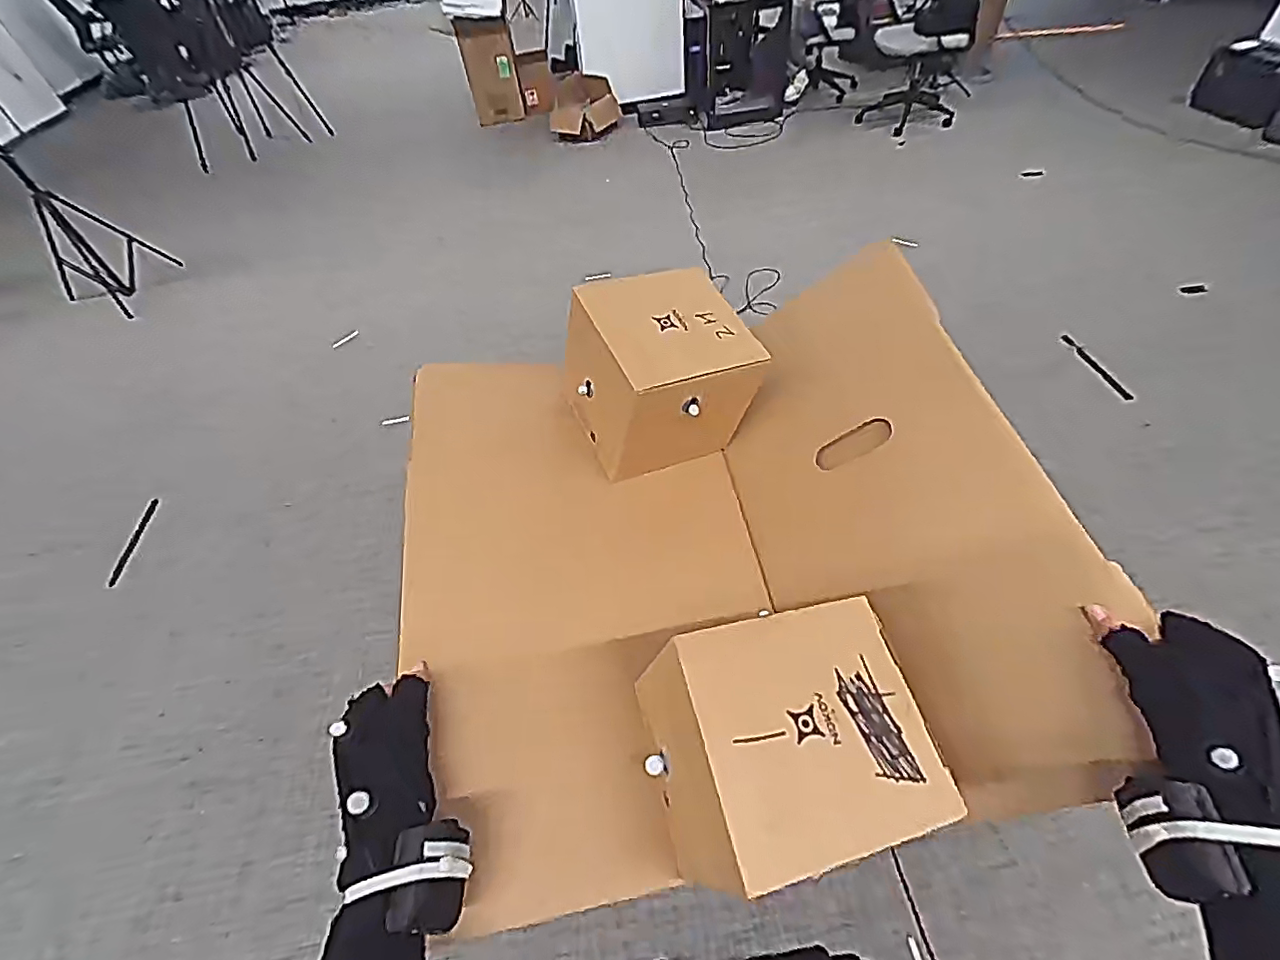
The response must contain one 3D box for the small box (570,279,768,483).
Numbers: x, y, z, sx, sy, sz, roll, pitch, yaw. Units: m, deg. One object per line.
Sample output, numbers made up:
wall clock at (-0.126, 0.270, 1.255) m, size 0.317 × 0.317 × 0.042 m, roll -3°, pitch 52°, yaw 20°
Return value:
small box at (0.020, -0.118, 0.667) m, size 0.179 × 0.176 × 0.168 m, roll -17°, pitch 62°, yaw -23°
